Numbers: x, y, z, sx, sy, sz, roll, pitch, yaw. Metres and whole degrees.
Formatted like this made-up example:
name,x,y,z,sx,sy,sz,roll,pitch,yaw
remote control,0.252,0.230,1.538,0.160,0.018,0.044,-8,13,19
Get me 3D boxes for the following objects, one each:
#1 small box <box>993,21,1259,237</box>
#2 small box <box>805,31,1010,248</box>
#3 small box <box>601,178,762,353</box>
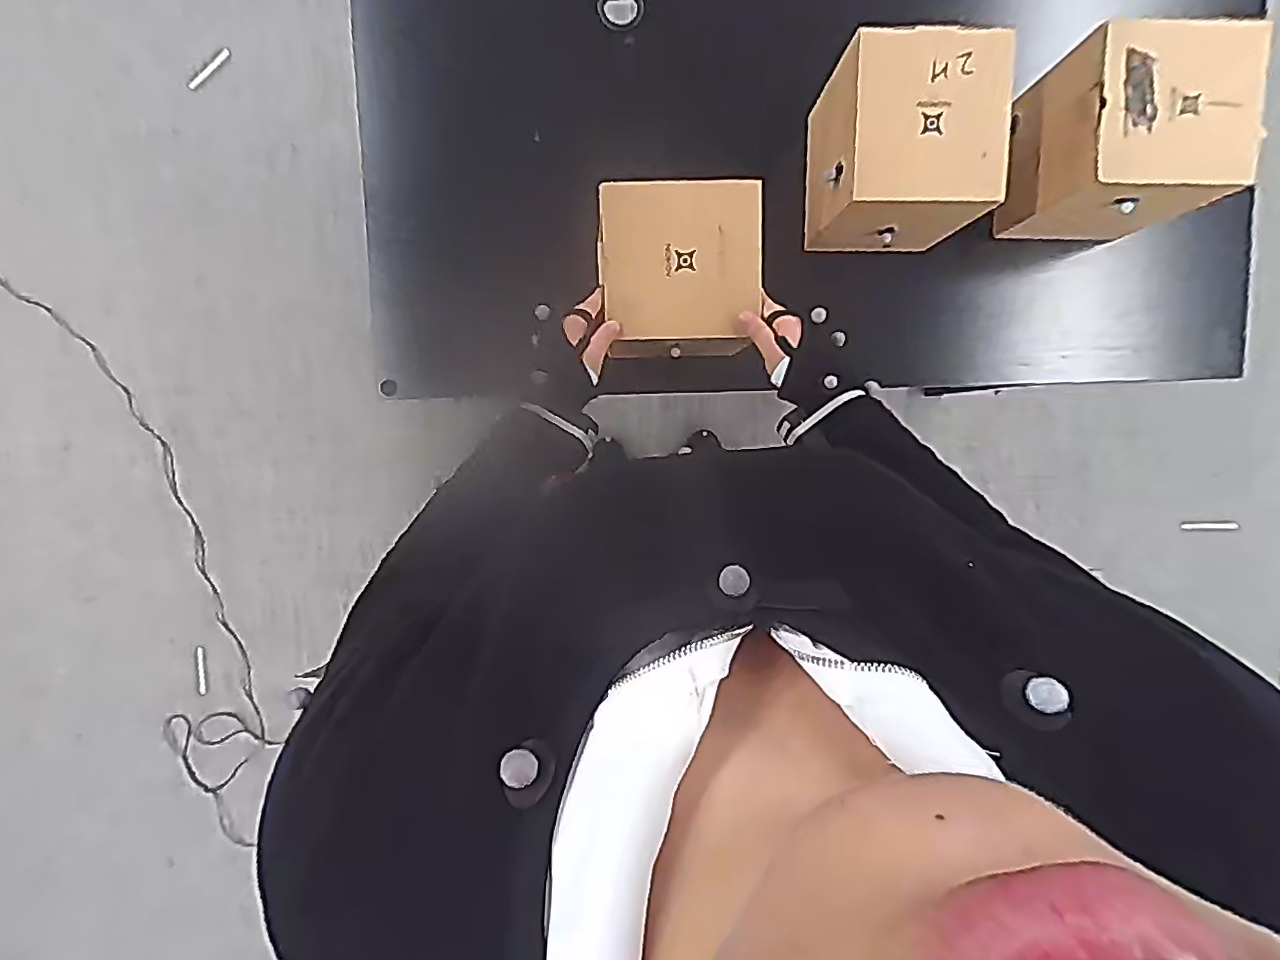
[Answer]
name,x,y,z,sx,sy,sz,roll,pitch,yaw
small box,0.569,-0.409,0.659,0.179,0.176,0.168,1,95,-1
small box,0.309,-0.396,0.659,0.168,0.176,0.179,0,95,-1
small box,0.046,-0.252,0.672,0.179,0.176,0.168,-3,97,-1
